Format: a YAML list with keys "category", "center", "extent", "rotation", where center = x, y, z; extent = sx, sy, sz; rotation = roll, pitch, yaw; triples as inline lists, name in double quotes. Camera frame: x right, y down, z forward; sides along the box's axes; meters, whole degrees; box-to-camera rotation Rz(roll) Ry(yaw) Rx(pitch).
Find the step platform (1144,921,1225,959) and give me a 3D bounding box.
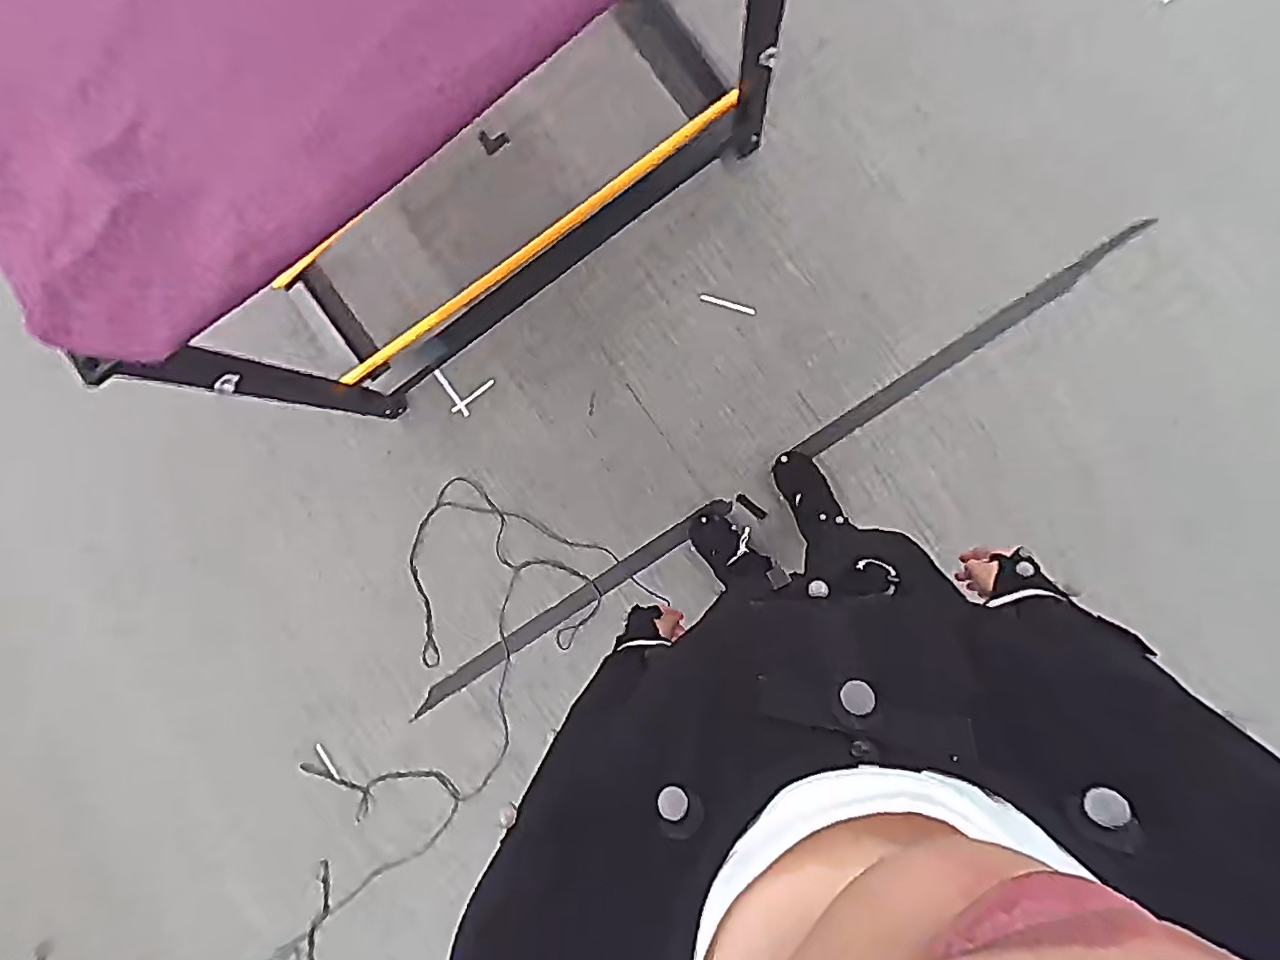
- category: "step platform"
  center: [1.080, 1.332, 1.213]
  extent: [0.684, 0.204, 0.286]
  rotation: [-35, 88, 4]
